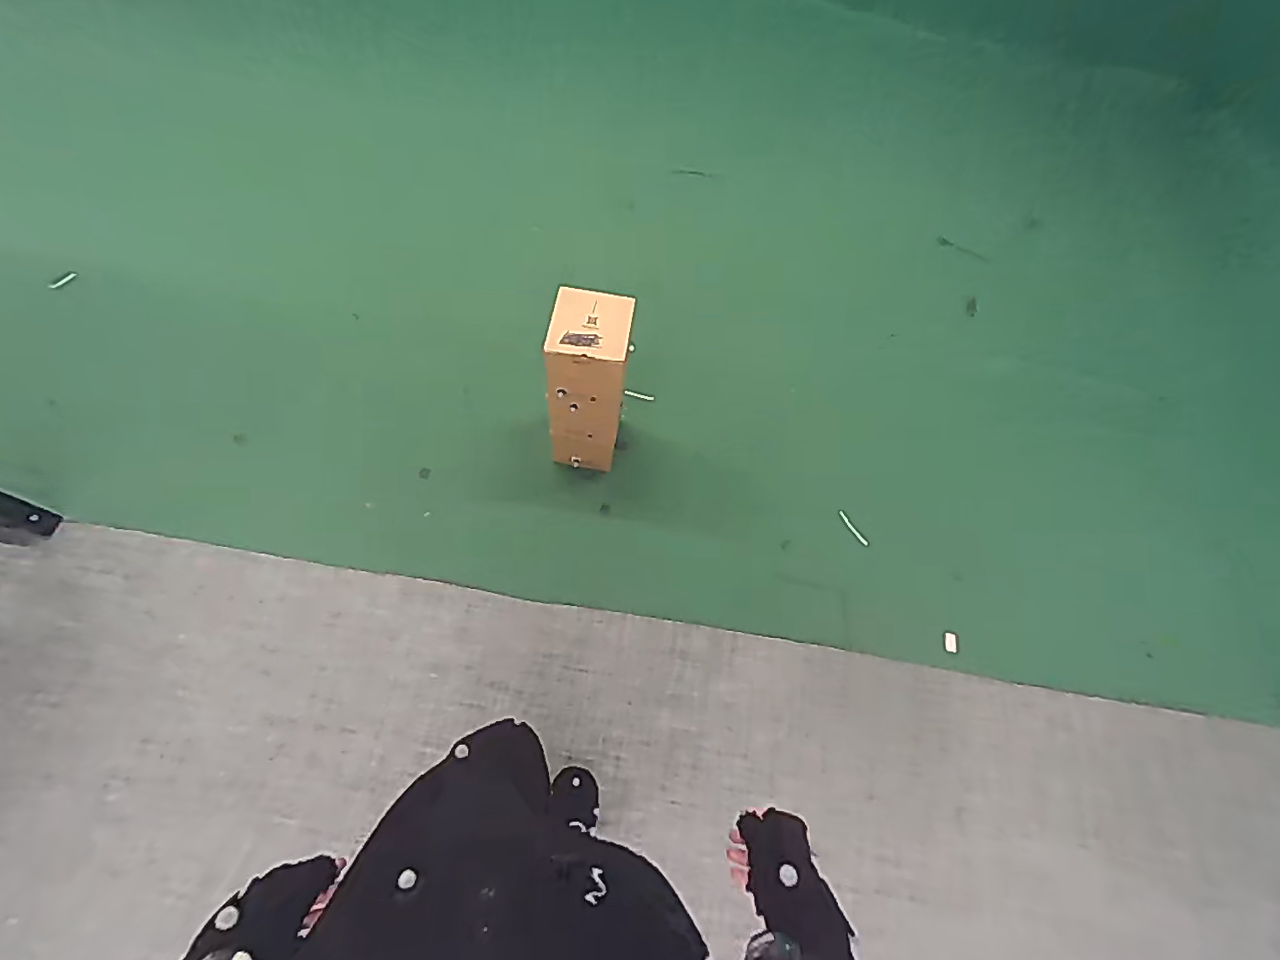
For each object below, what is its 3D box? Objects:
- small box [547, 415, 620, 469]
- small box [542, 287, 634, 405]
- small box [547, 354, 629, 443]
[{"bbox_3d":[-0.146,-0.155,1.461,0.168,0.176,0.179,11,65,1],"label":"small box"},{"bbox_3d":[-0.110,-0.287,1.182,0.168,0.176,0.179,9,64,-2],"label":"small box"},{"bbox_3d":[-0.127,-0.216,1.330,0.168,0.176,0.179,10,64,-1],"label":"small box"}]
